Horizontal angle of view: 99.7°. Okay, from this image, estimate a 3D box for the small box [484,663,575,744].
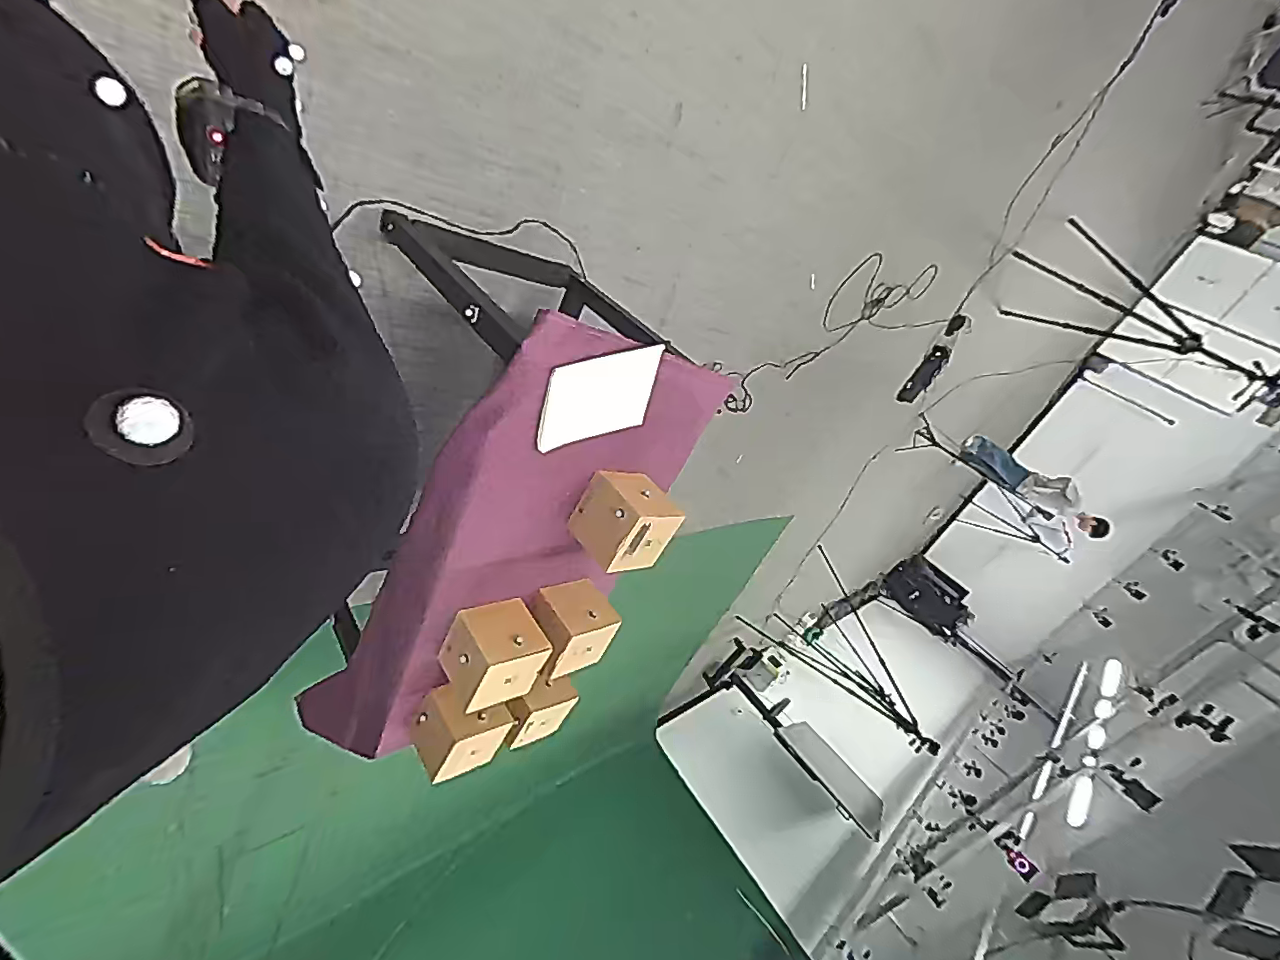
[{"bbox_3d":[-0.332,0.628,1.590,0.179,0.176,0.168,2,125,-51],"label":"small box"}]

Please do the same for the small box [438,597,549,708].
[{"bbox_3d":[-0.357,0.404,1.297,0.179,0.176,0.168,1,127,-49],"label":"small box"}]

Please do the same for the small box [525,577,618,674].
[{"bbox_3d":[-0.197,0.381,1.453,0.179,0.176,0.168,-2,129,-47],"label":"small box"}]
